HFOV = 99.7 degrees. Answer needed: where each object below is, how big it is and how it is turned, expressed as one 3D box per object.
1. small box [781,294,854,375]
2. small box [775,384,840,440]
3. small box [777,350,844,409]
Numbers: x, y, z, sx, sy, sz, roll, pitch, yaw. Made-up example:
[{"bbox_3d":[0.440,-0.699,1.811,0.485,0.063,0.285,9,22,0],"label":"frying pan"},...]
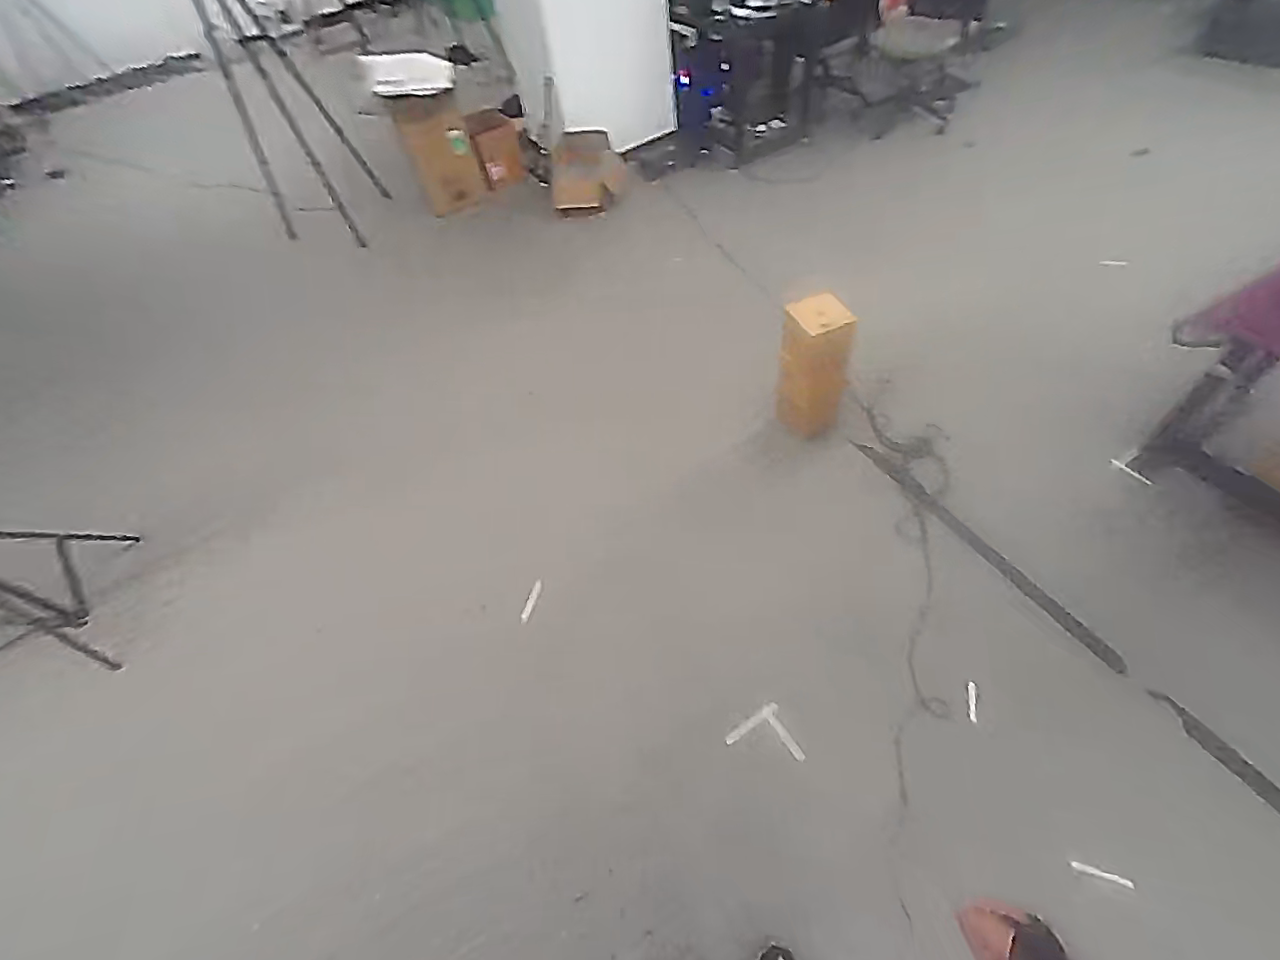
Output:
[{"bbox_3d":[0.582,-0.483,1.803,0.168,0.176,0.179,-21,51,-6],"label":"small box"},{"bbox_3d":[0.631,-0.287,2.060,0.168,0.176,0.179,-29,53,-11],"label":"small box"},{"bbox_3d":[0.608,-0.385,1.933,0.179,0.176,0.168,-27,52,-10],"label":"small box"}]
